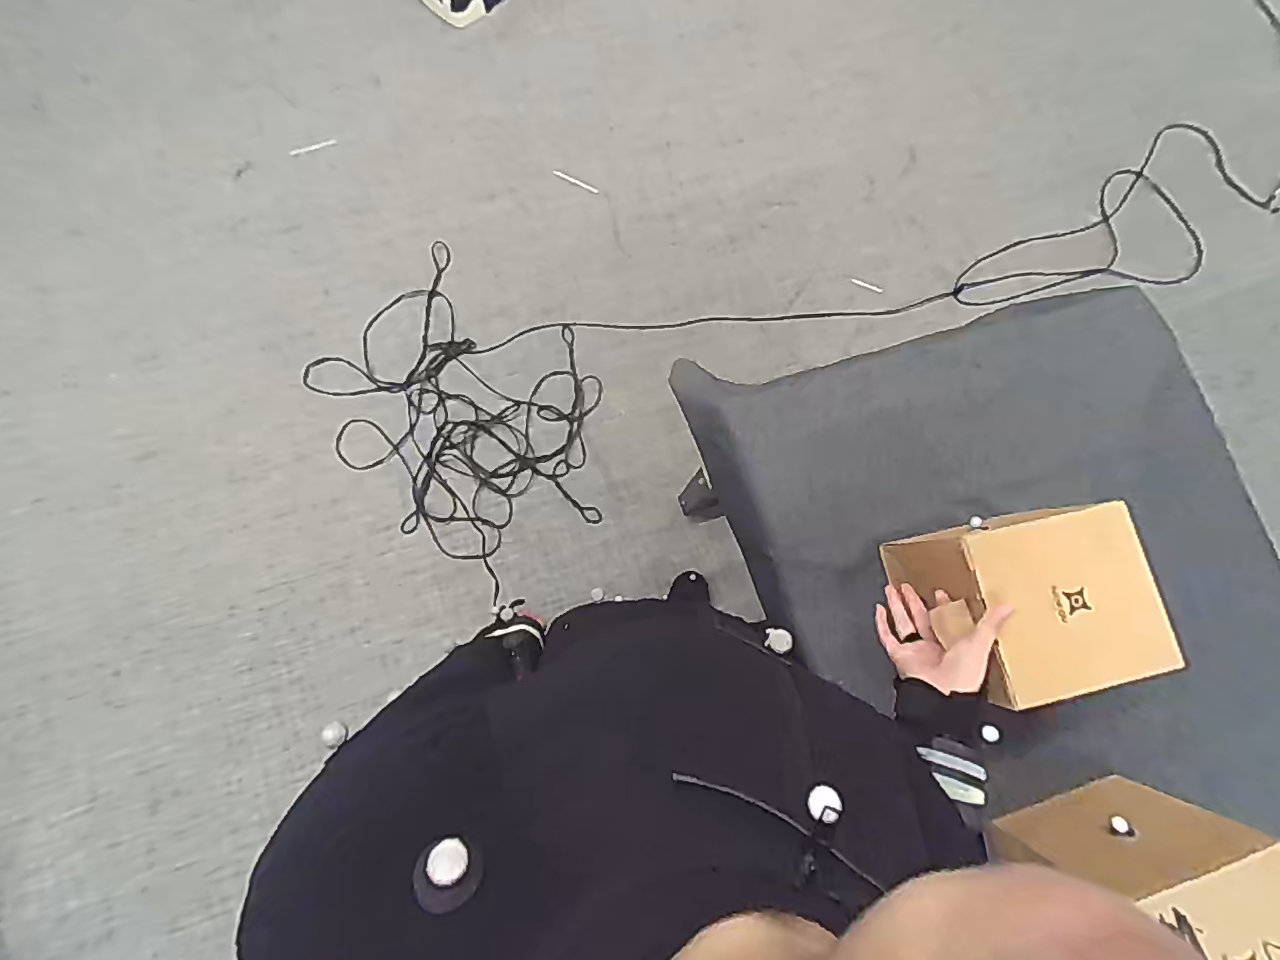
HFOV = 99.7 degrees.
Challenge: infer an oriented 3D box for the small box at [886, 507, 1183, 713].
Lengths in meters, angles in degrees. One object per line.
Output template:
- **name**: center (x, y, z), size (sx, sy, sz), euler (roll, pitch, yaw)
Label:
- **small box**: center (0.409, 0.132, 0.594), size (0.179, 0.176, 0.168), euler (-13, 81, -4)
